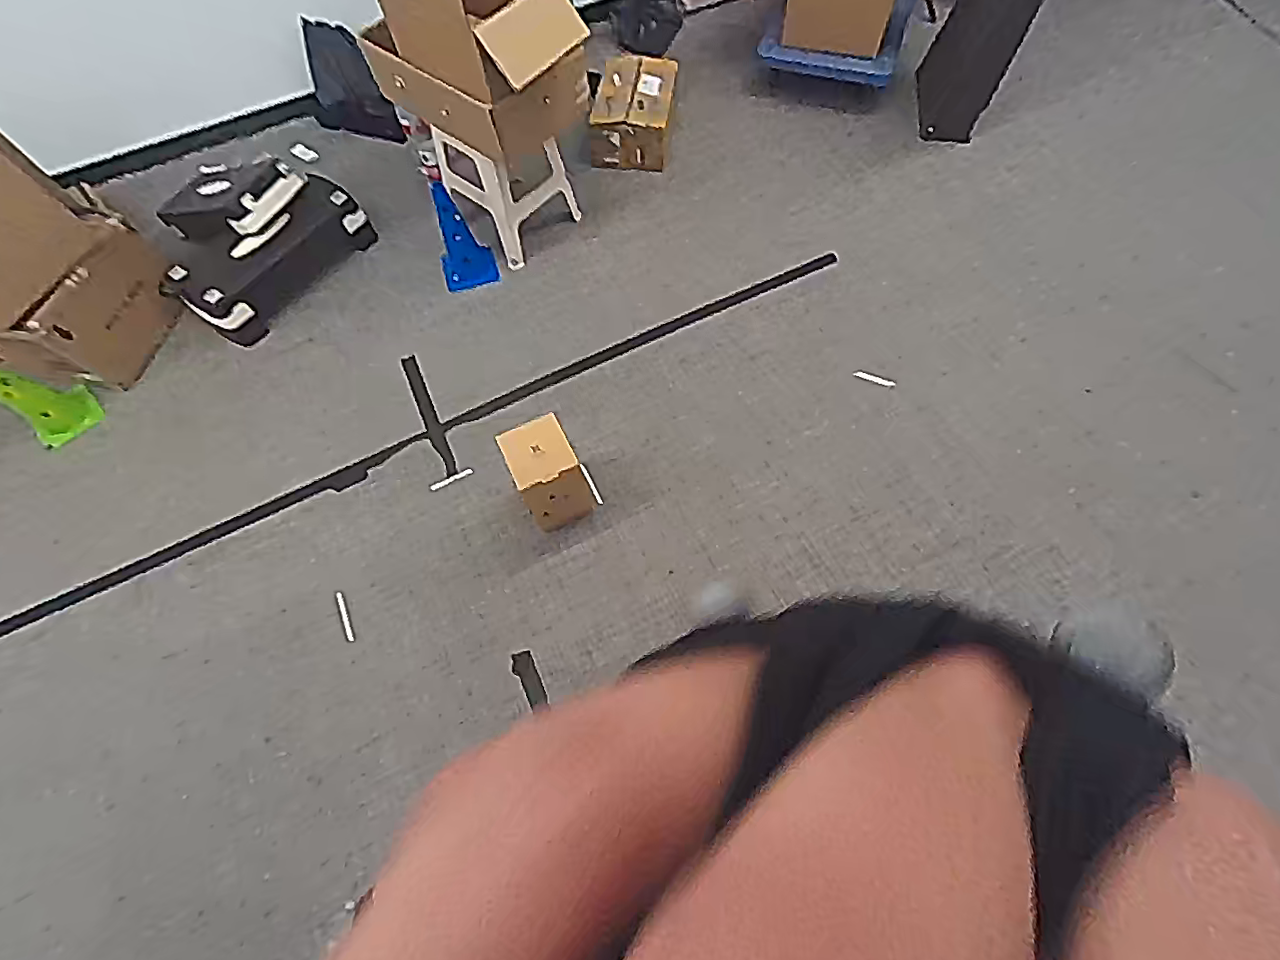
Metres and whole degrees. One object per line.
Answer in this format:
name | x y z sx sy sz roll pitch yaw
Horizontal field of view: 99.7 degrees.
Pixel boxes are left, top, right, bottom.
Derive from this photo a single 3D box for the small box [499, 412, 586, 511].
small box | -0.258 -0.045 1.451 0.168 0.176 0.179 -25 67 -10
